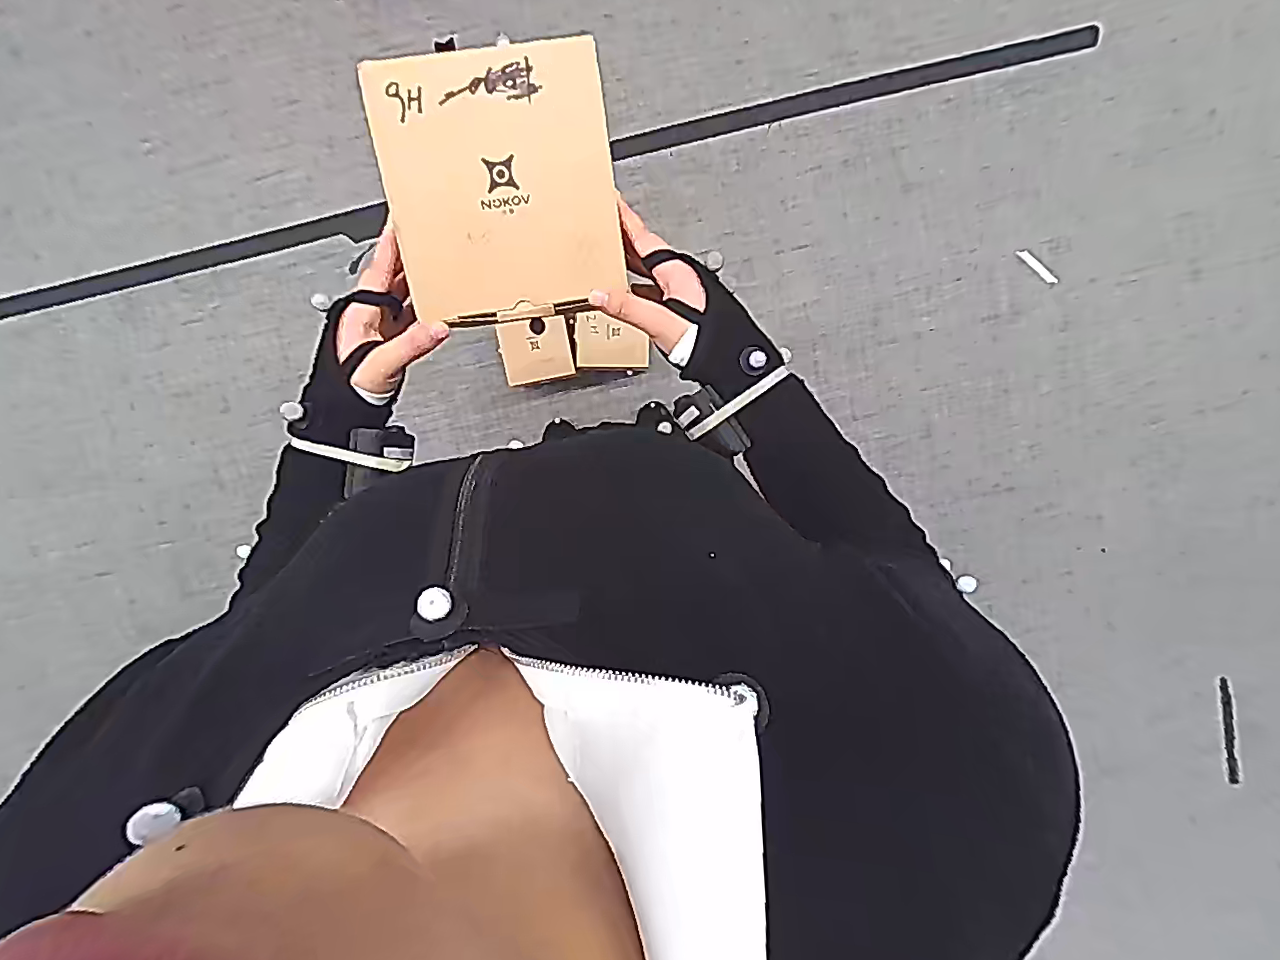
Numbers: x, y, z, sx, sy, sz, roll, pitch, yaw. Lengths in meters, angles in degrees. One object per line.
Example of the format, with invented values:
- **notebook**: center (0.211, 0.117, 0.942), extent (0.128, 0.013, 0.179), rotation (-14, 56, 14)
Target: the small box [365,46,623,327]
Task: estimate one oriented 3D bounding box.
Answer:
- **small box**: center (-0.108, -0.236, 0.478), extent (0.168, 0.176, 0.179), rotation (-8, 107, -3)
